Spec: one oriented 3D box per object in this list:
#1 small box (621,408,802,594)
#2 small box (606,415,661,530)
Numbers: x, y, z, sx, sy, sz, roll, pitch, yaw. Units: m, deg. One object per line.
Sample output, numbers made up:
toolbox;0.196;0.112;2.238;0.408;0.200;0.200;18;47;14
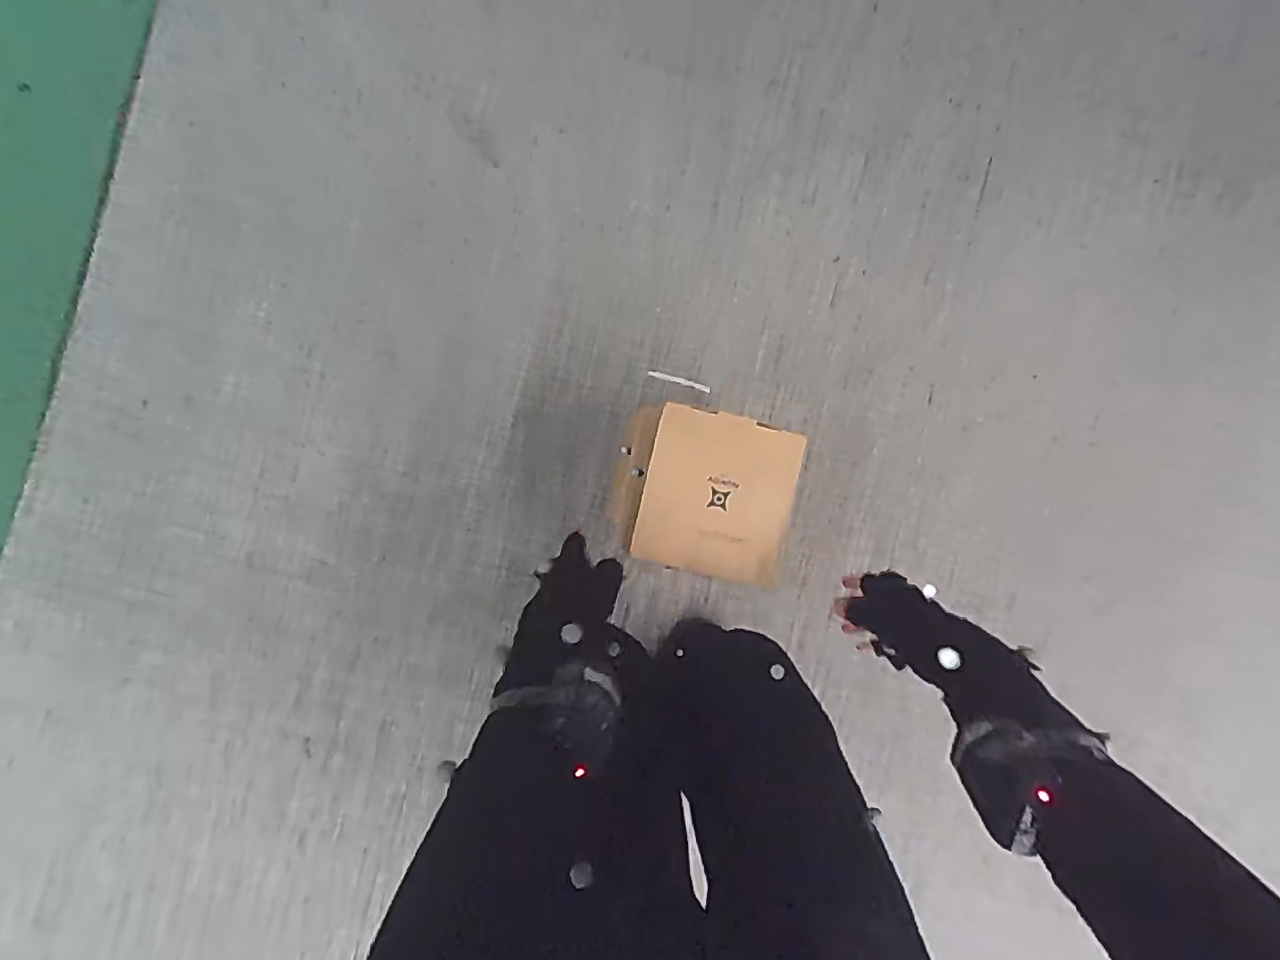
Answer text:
small box;0.075;0.023;0.668;0.168;0.176;0.179;13;90;-6
small box;0.056;0.007;0.830;0.179;0.176;0.168;14;88;-8
